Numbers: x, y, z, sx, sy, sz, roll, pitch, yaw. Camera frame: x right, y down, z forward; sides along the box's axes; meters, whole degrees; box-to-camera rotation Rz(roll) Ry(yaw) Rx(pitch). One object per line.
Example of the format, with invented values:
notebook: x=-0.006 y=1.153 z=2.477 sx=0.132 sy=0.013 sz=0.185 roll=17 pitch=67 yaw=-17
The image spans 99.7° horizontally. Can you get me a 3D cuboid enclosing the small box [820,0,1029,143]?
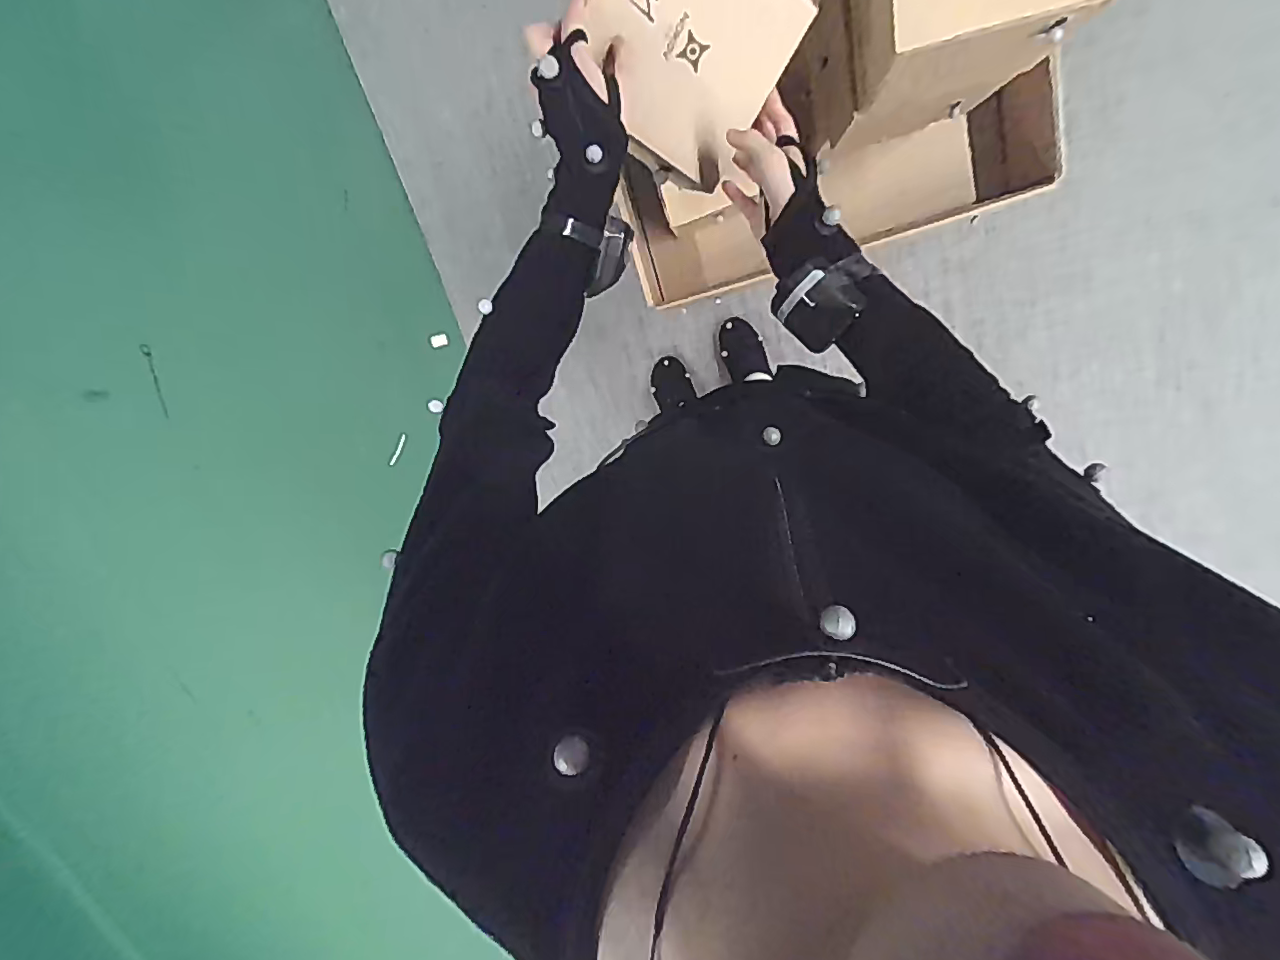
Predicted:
small box: x=0.319 y=-0.523 z=0.631 sx=0.179 sy=0.176 sz=0.168 roll=-9 pitch=108 yaw=14

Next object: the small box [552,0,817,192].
small box: x=0.030 y=-0.414 z=0.528 sx=0.179 sy=0.176 sz=0.168 roll=24 pitch=115 yaw=-19

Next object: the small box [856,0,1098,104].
small box: x=0.294 y=-0.469 z=0.481 sx=0.179 sy=0.176 sz=0.168 roll=-8 pitch=108 yaw=13
